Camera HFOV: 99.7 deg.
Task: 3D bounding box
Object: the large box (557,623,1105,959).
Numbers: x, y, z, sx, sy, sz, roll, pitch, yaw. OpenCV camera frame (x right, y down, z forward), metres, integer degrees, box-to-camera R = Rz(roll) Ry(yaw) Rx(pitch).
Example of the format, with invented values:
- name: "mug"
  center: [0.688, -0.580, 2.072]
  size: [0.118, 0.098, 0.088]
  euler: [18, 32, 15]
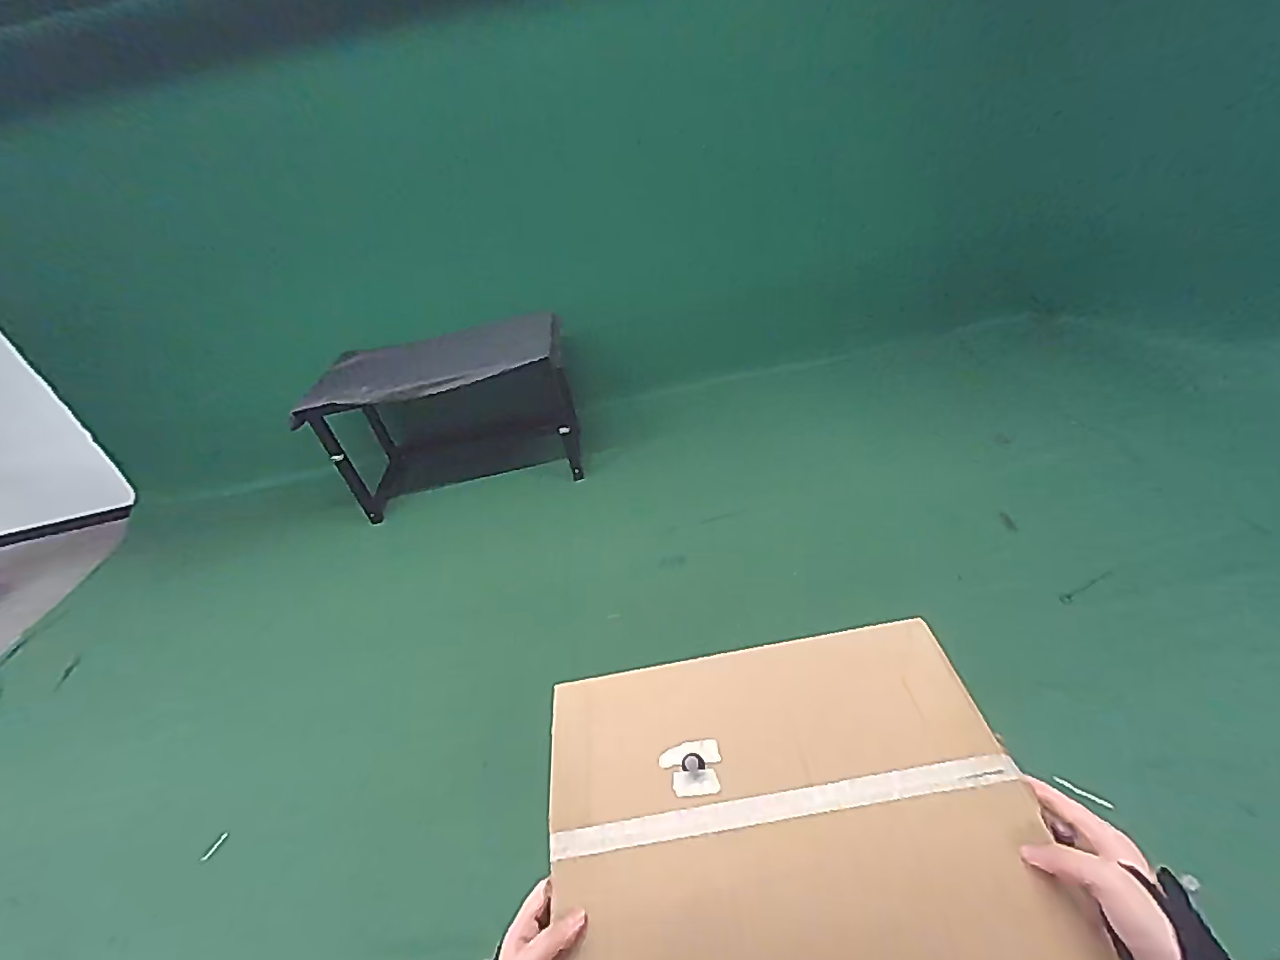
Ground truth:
- name: "large box"
  center: [0.150, 0.404, 0.577]
  size: [0.408, 0.320, 0.320]
  euler: [-13, 41, 4]
